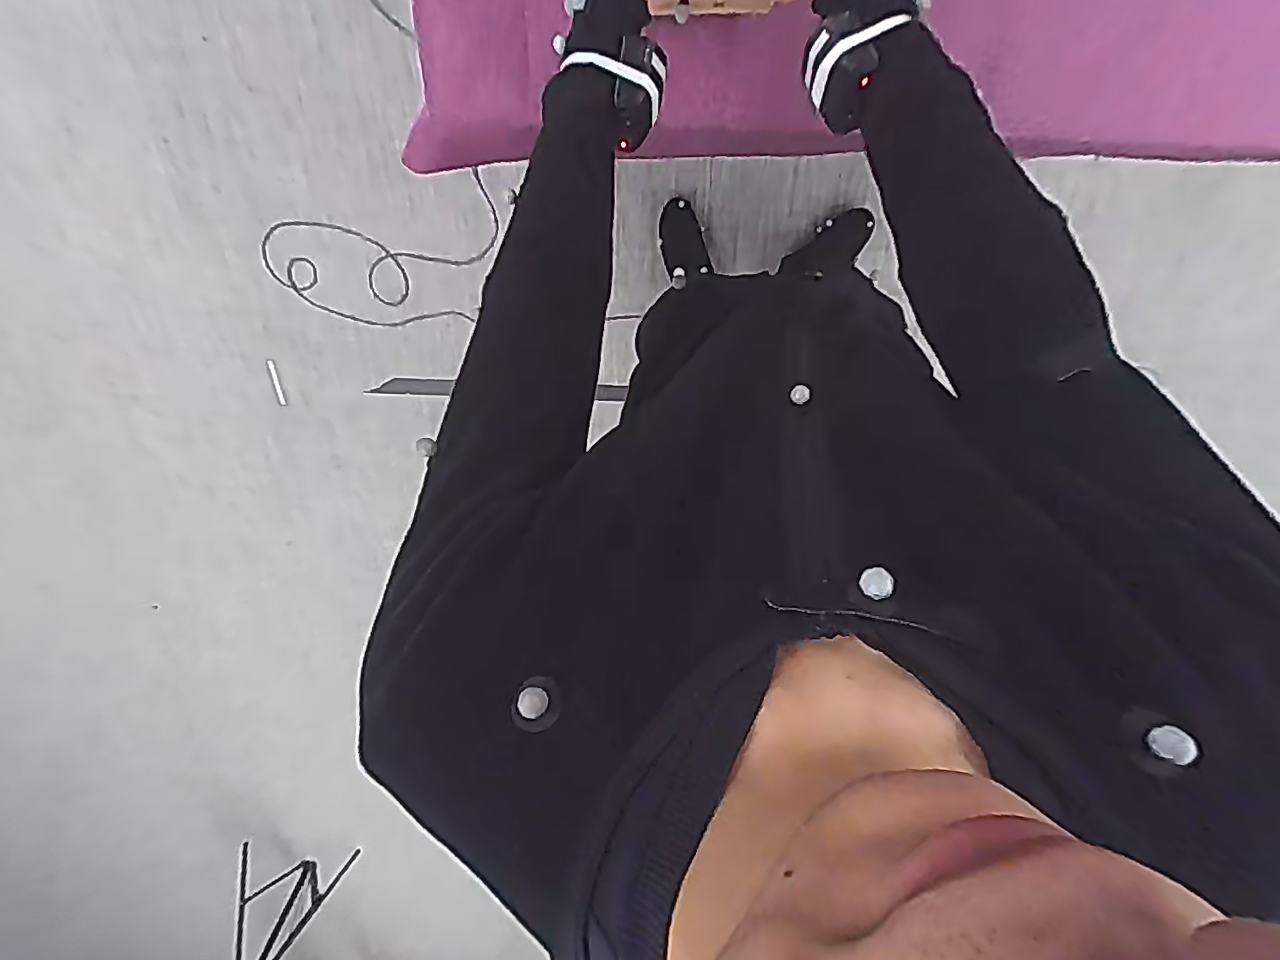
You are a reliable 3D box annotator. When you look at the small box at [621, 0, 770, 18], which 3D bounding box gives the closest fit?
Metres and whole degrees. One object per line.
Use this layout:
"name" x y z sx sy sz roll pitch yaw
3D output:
"small box" 0.057 -0.553 0.480 0.168 0.176 0.179 -2 114 0
